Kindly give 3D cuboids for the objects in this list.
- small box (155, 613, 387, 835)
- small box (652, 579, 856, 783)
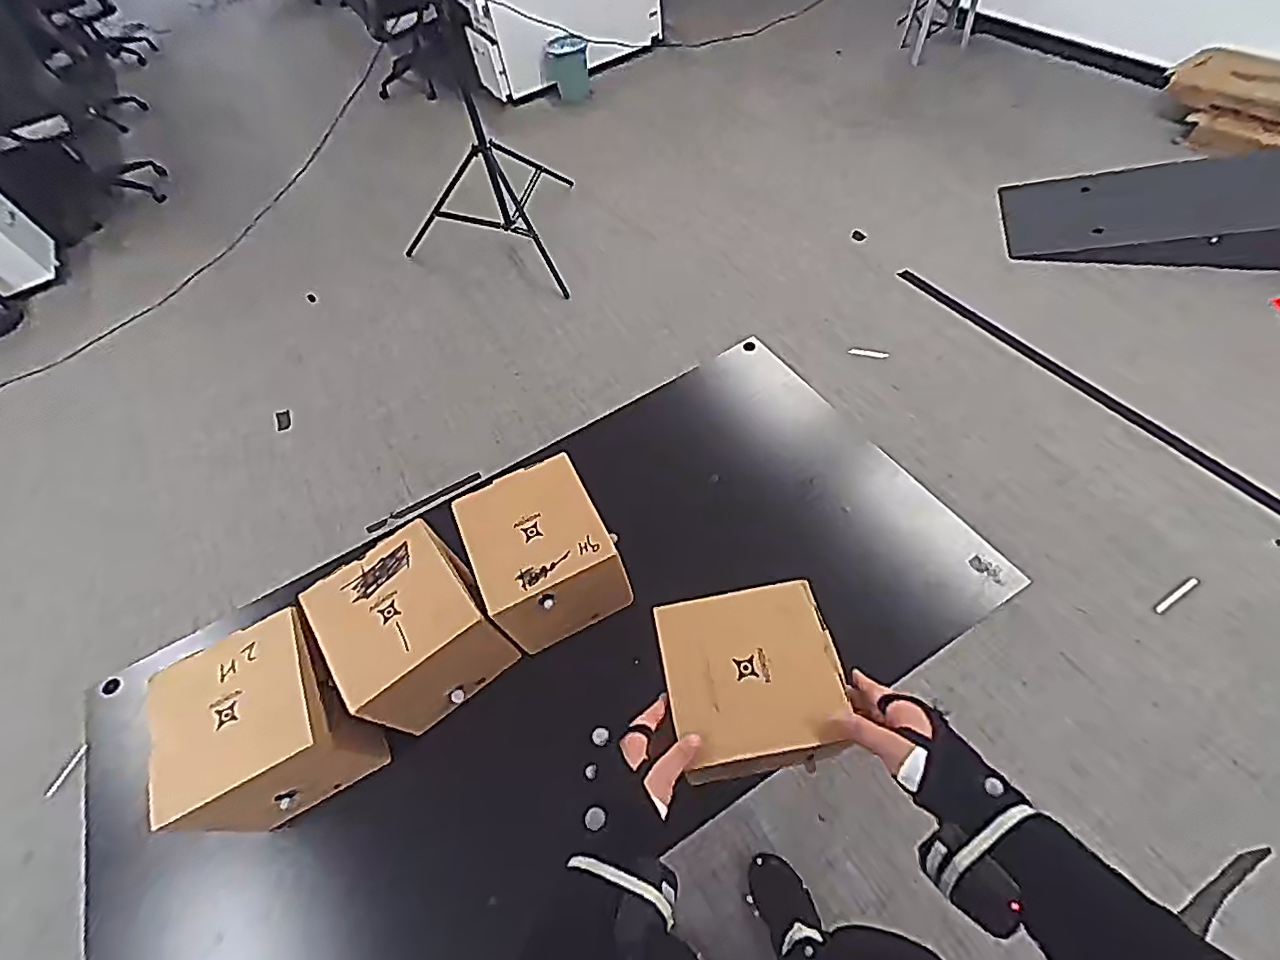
[{"bbox_3d":[-0.439,0.299,0.661,0.168,0.176,0.179,-27,57,-11],"label":"small box"},{"bbox_3d":[0.119,0.236,0.623,0.179,0.176,0.168,-13,55,1],"label":"small box"}]
